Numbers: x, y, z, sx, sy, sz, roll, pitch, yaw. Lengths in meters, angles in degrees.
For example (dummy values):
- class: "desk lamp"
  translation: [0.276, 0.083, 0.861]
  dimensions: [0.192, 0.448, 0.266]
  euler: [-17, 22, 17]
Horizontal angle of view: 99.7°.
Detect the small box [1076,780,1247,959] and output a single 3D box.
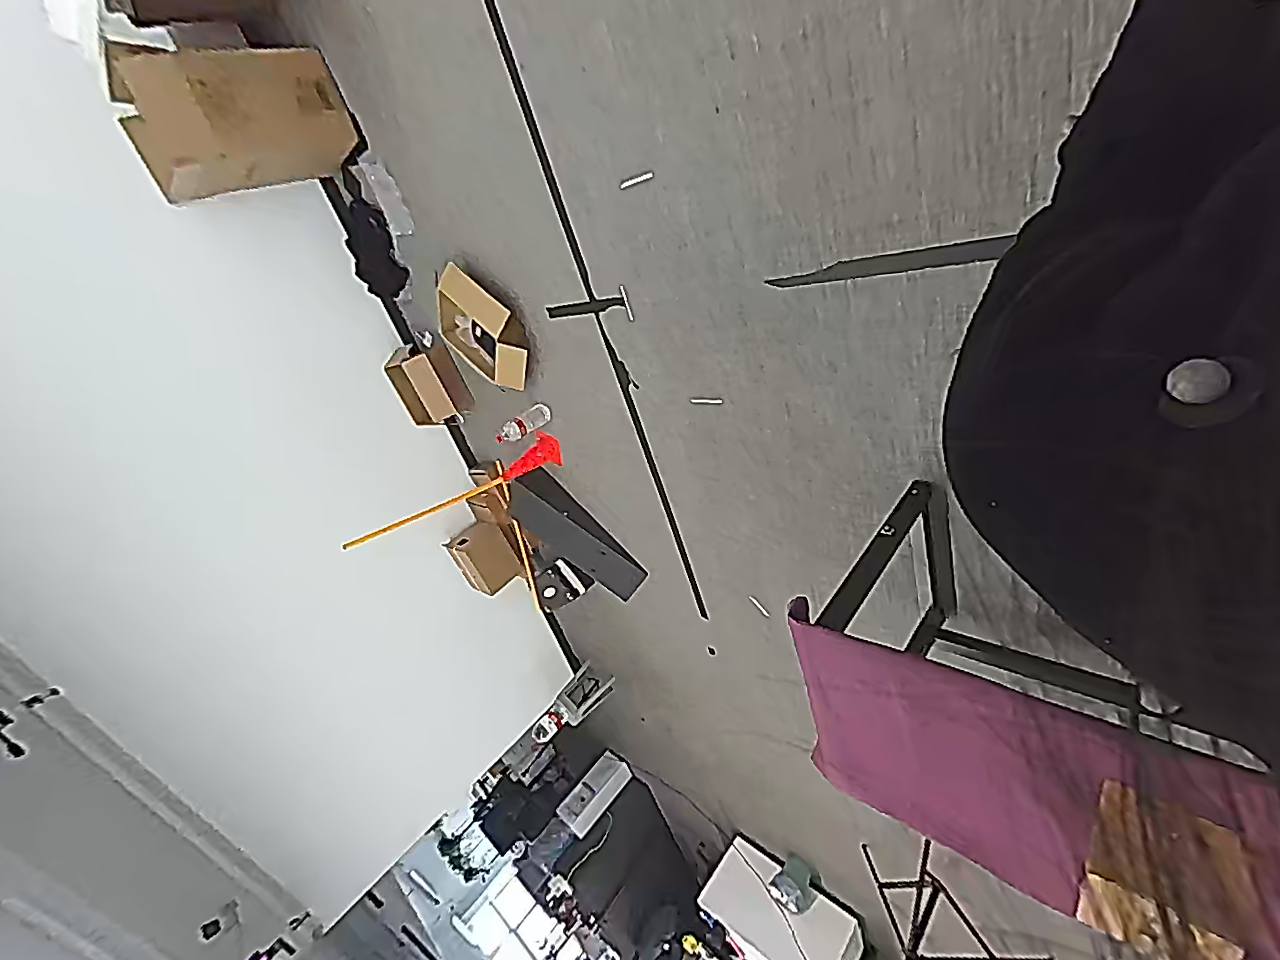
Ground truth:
- class: "small box"
  translation: [0.816, 0.625, 0.851]
  dimensions: [0.168, 0.176, 0.179]
  euler: [12, 131, 43]
